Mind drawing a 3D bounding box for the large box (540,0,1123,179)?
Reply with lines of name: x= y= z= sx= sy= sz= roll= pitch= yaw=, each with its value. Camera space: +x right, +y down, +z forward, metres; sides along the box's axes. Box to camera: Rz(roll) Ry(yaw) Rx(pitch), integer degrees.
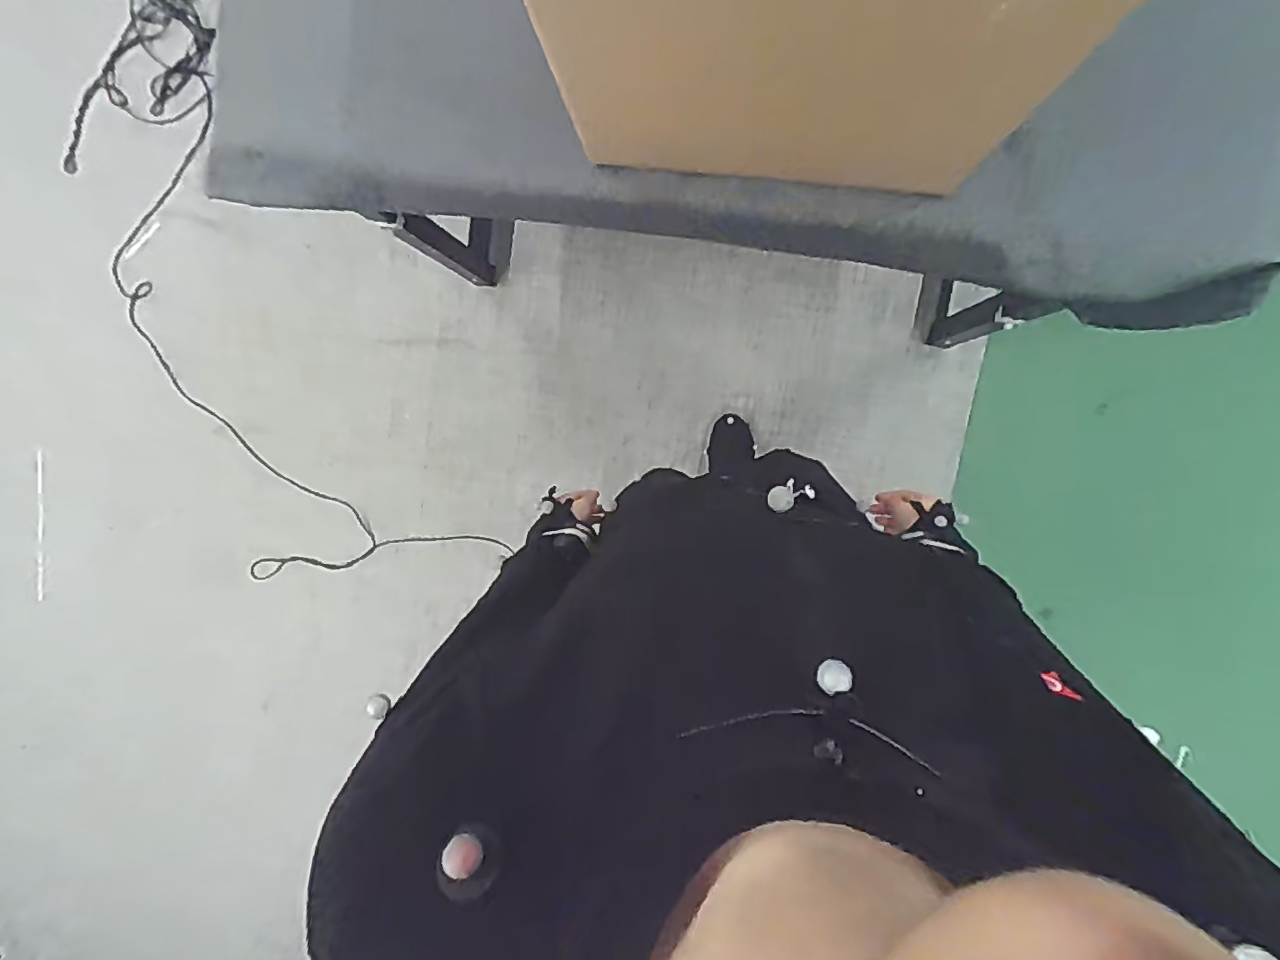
large box: x=0.141 y=-0.484 z=0.442 sx=0.408 sy=0.320 sz=0.320 roll=8 pitch=96 yaw=5
